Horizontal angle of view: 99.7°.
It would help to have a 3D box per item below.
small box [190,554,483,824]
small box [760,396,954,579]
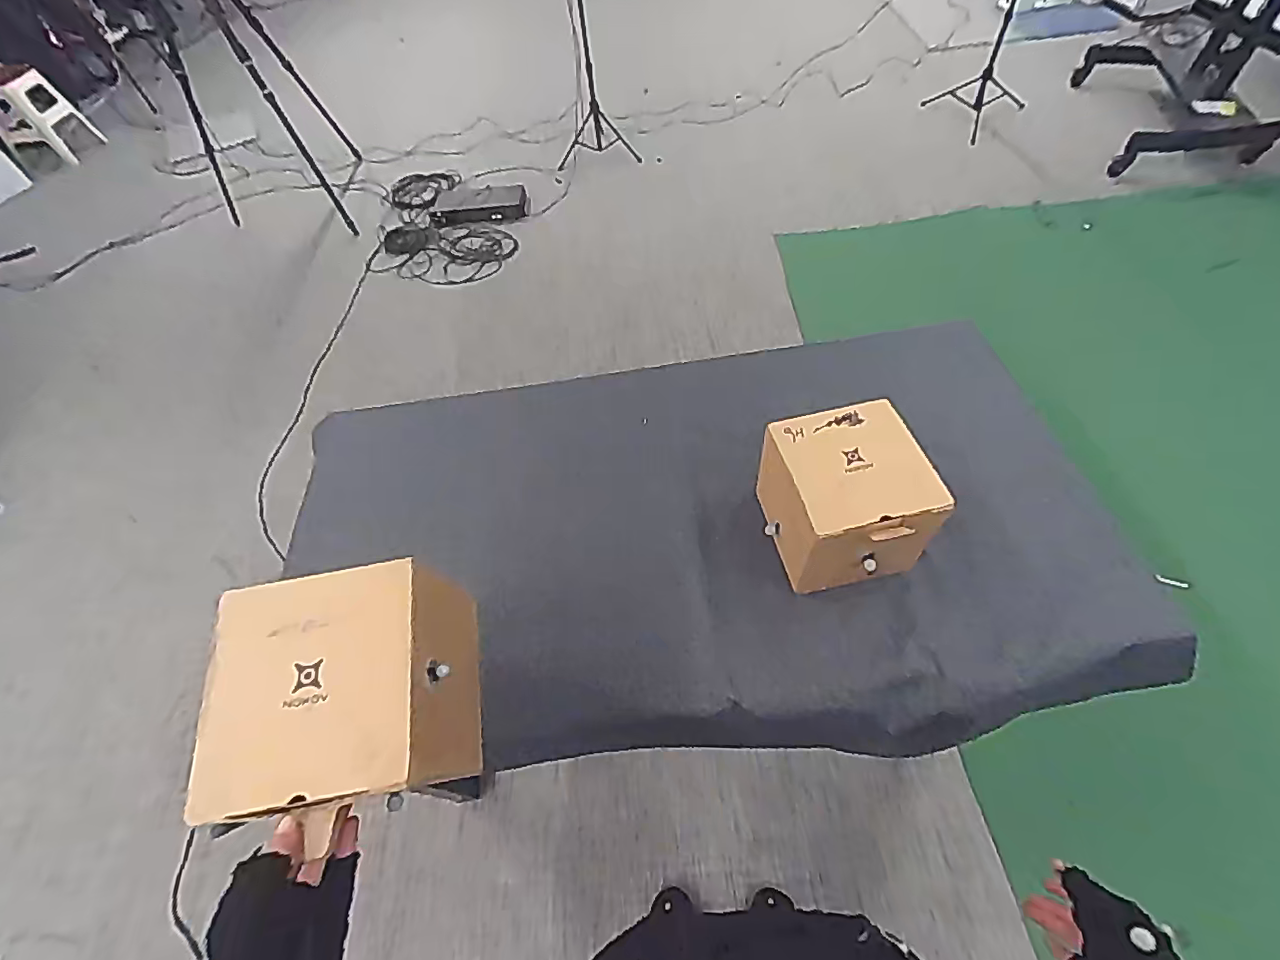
[{"bbox_3d":[-0.251,0.187,0.493,0.168,0.176,0.179,-11,64,-2],"label":"small box"},{"bbox_3d":[0.270,0.019,0.720,0.168,0.176,0.179,-11,56,-2],"label":"small box"}]
